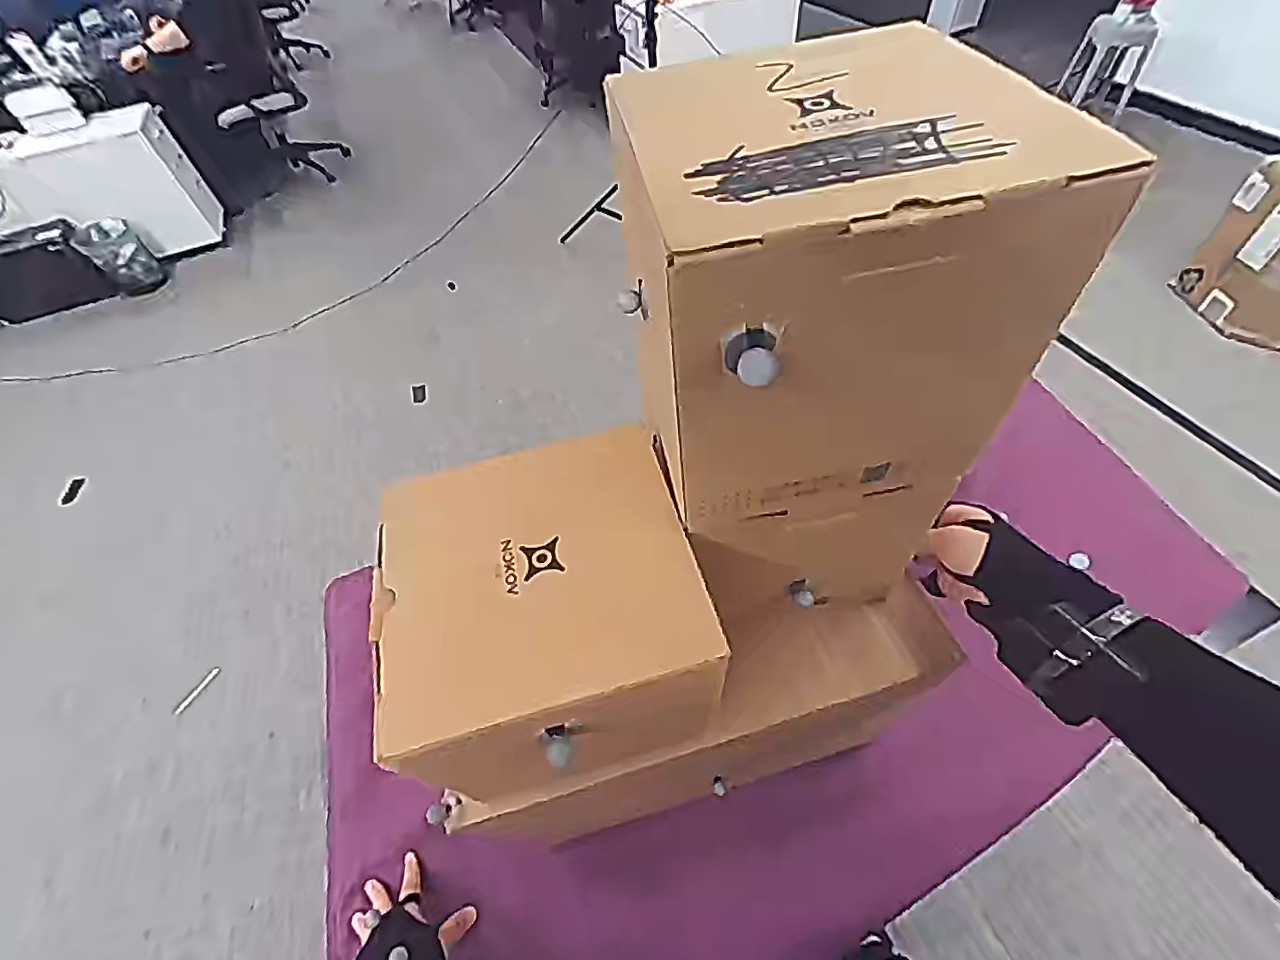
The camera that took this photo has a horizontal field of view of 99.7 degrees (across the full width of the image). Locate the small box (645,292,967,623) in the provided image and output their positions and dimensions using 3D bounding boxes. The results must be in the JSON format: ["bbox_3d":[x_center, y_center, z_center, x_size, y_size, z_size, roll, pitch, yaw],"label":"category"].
[{"bbox_3d":[0.102,-0.013,0.420,0.168,0.176,0.179,-11,53,-1],"label":"small box"}]

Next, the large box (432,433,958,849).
[{"bbox_3d":[0.034,0.164,0.603,0.408,0.320,0.320,-17,52,-5],"label":"large box"}]
